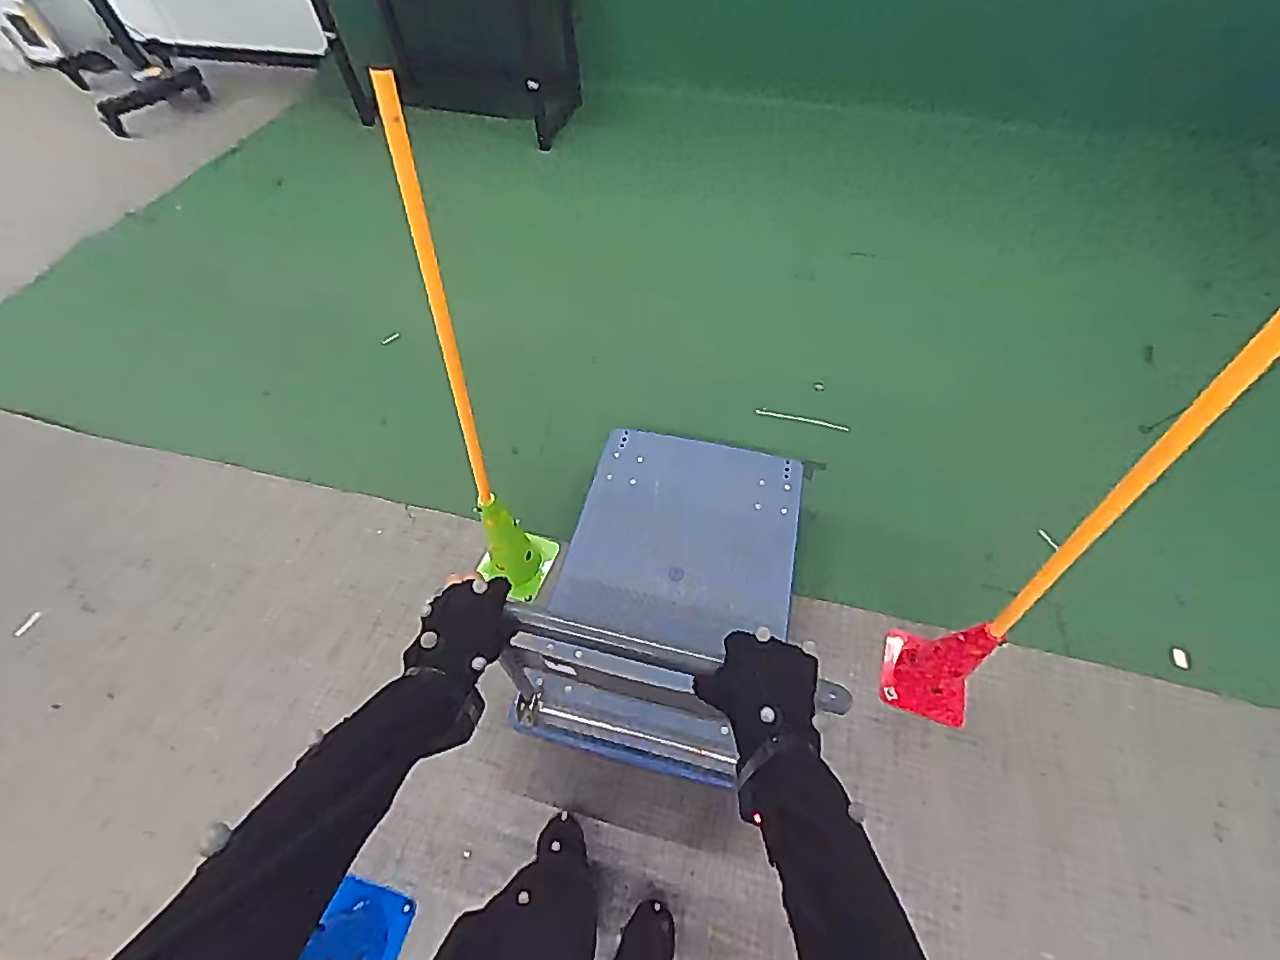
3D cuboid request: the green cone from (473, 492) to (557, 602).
[{"bbox_3d":[-0.369,0.147,1.449,0.202,0.368,0.200,16,57,13],"label":"green cone"}]
